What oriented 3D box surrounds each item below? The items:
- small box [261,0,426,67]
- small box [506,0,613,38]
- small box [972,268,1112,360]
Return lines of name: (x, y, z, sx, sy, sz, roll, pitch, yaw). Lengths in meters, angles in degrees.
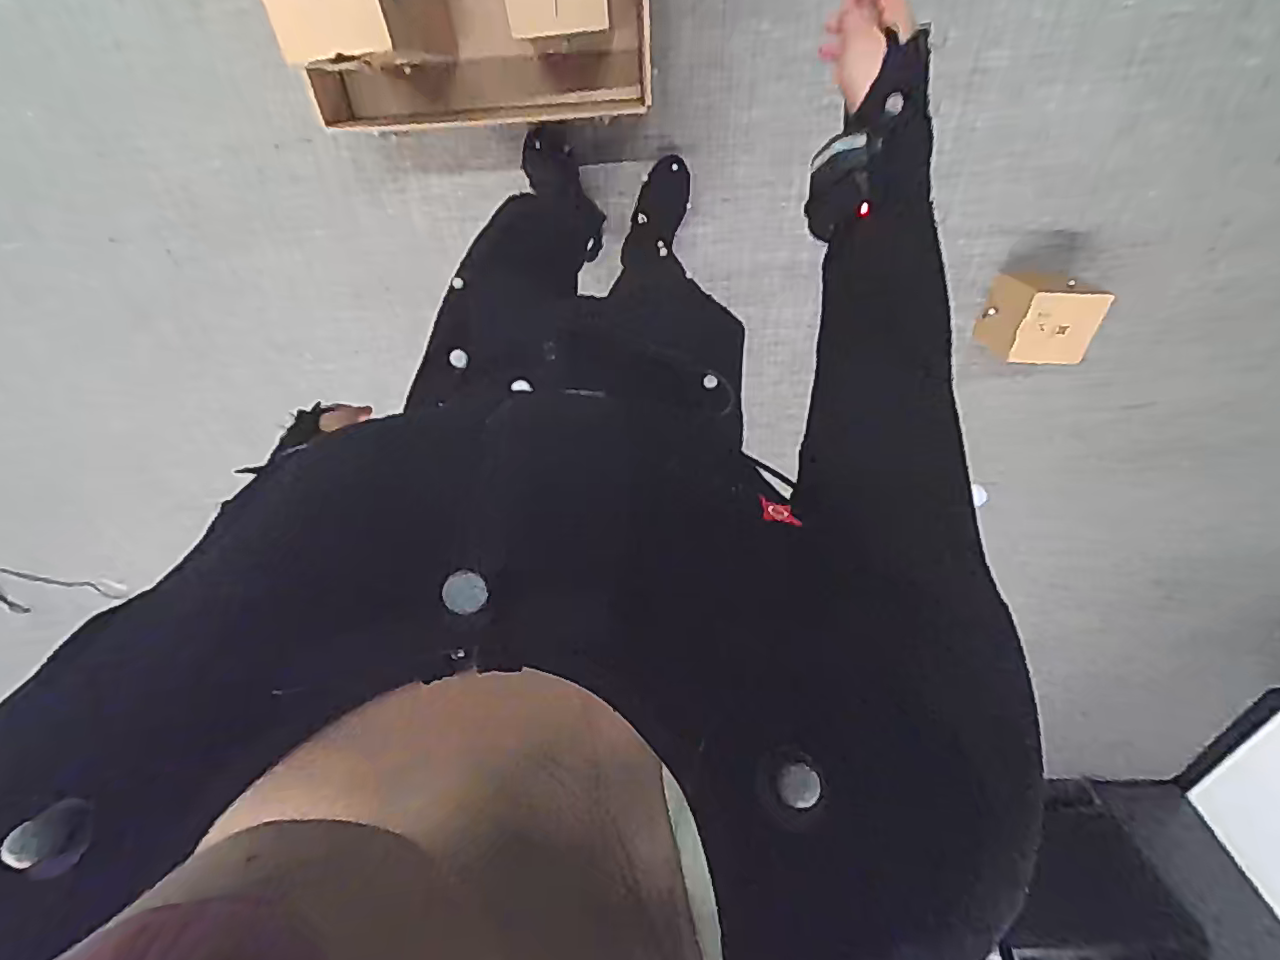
small box: (-0.438, -0.724, 0.787, 0.168, 0.176, 0.179, -5, 129, 4)
small box: (-0.136, -0.851, 0.892, 0.168, 0.176, 0.179, -3, 129, 4)
small box: (0.945, -0.398, 1.290, 0.179, 0.176, 0.168, 2, 126, -1)
